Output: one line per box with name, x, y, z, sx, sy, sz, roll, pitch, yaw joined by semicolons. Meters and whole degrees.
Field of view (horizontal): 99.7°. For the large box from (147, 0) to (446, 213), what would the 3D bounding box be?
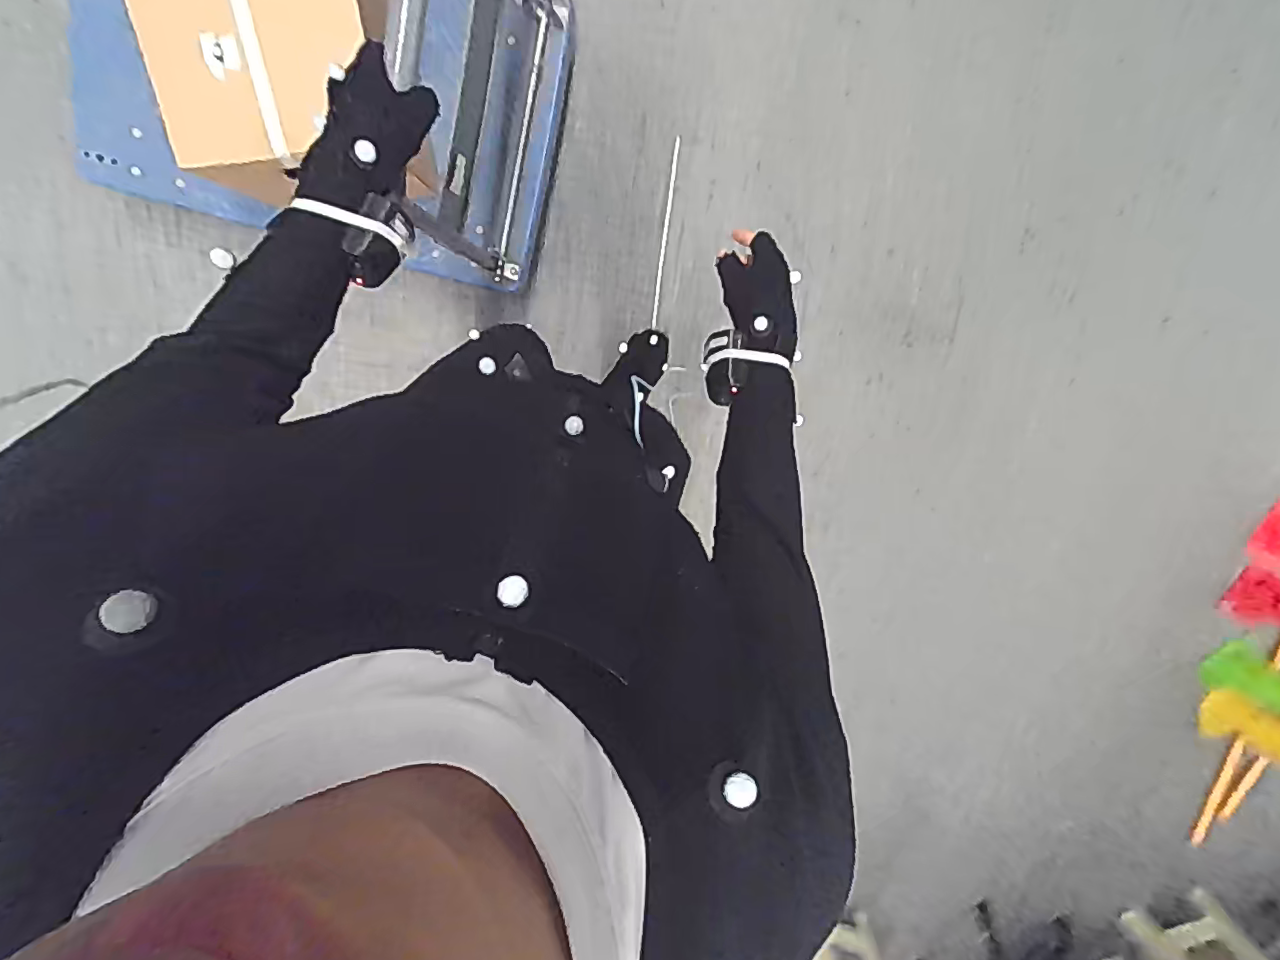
large box;-0.561;-0.719;0.925;0.320;0.320;0.408;-8;106;-2
